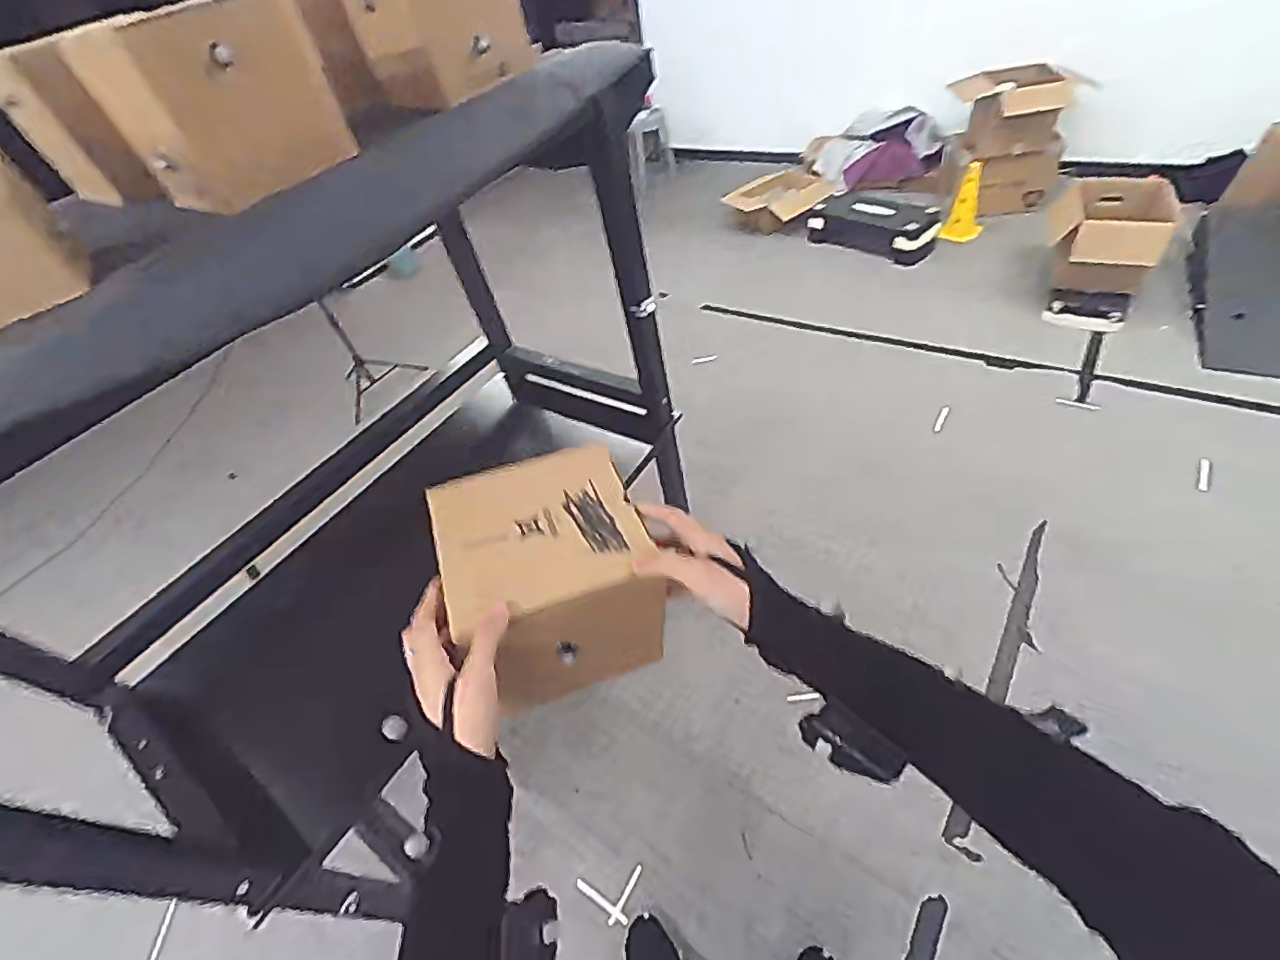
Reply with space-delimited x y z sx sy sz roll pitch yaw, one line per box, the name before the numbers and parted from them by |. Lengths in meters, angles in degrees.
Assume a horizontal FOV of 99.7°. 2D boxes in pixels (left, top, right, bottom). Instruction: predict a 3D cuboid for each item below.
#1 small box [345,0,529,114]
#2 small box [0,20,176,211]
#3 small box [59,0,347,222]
small box | -0.291 -0.646 0.772 0.179 0.176 0.168 28 61 32
small box | -0.702 -0.481 0.724 0.179 0.176 0.168 21 58 28
small box | -0.477 -0.425 0.623 0.168 0.176 0.179 21 57 28
